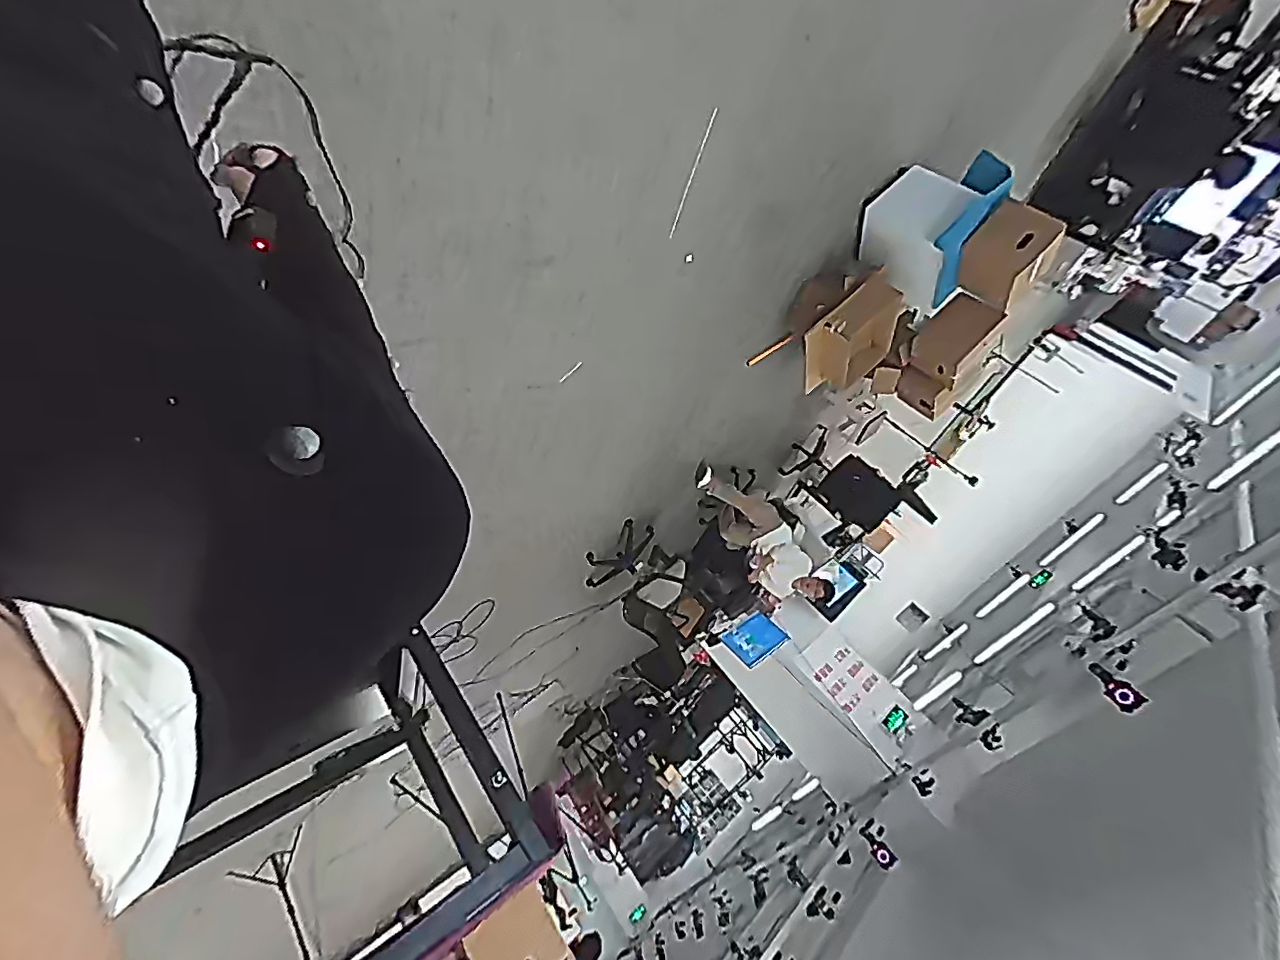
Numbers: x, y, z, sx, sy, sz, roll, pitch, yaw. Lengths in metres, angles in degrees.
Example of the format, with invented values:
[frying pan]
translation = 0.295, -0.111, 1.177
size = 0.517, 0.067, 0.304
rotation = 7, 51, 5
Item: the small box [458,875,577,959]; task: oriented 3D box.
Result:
[small box]
translation = -0.269, 1.010, 1.174
size = 0.179, 0.176, 0.168
rotation = -19, 144, -40
